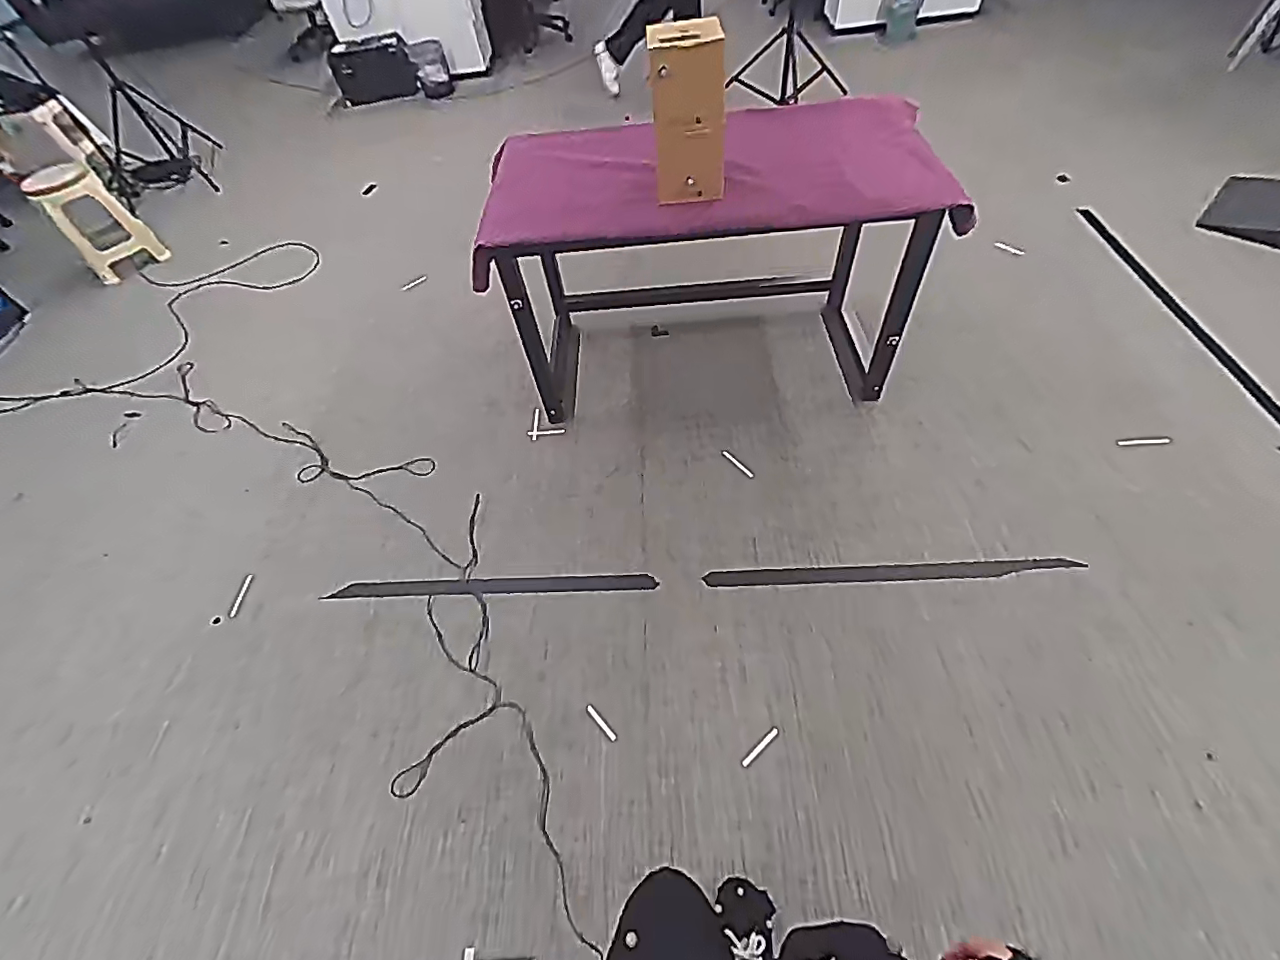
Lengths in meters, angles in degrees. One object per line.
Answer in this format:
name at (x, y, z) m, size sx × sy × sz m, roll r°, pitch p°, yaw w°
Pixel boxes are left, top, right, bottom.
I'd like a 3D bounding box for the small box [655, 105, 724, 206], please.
small box at (0.127, -0.835, 1.394) m, size 0.168 × 0.176 × 0.179 m, roll -2°, pitch 53°, yaw 6°
